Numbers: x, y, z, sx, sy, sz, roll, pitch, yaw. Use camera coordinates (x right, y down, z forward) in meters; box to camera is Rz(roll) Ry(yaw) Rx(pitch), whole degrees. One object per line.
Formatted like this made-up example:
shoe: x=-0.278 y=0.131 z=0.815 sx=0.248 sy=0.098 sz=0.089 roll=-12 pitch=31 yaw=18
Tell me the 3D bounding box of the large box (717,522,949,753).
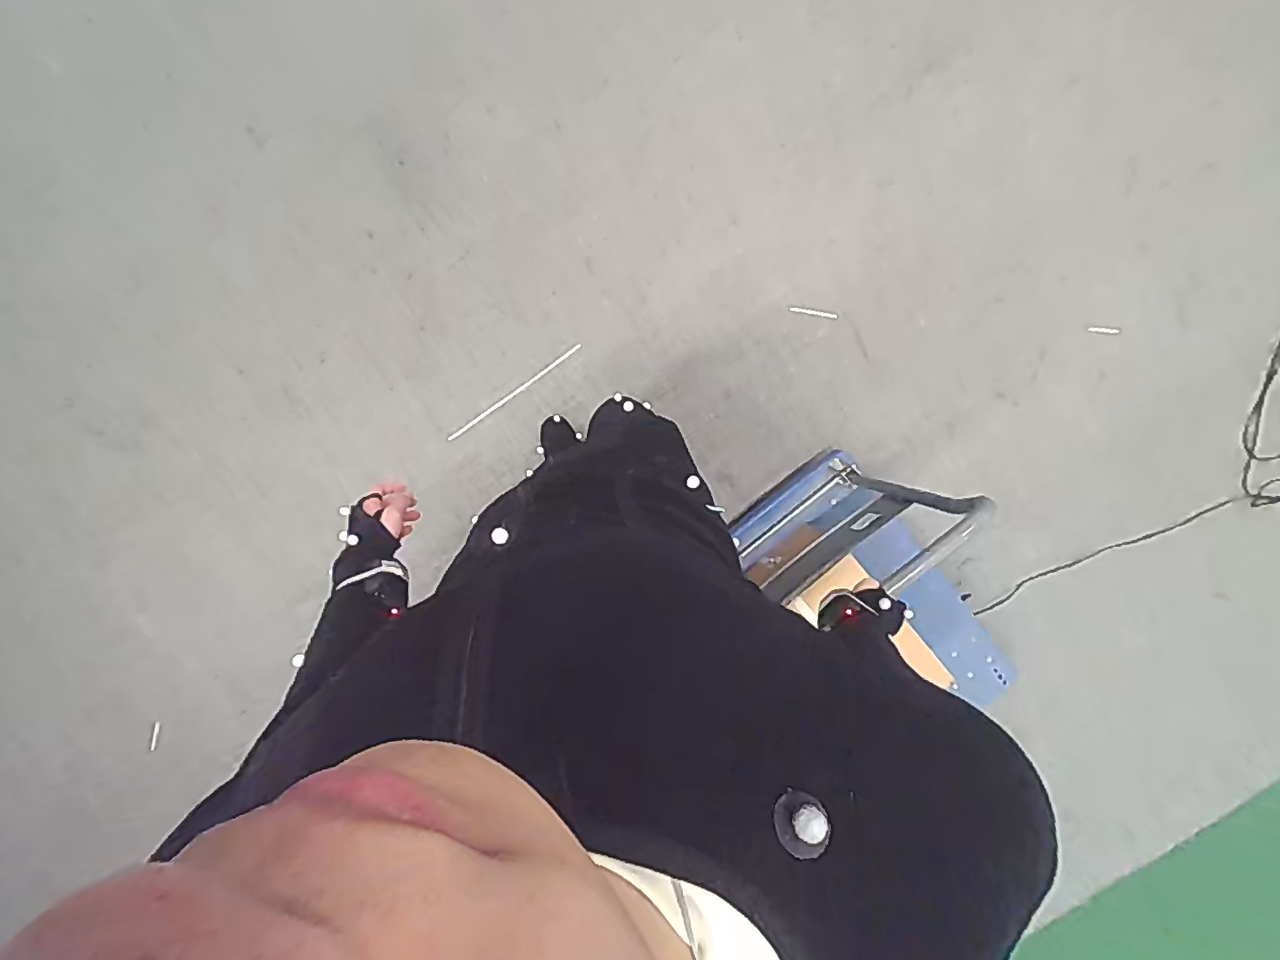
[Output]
large box: x=0.460 y=0.373 z=1.372 sx=0.320 sy=0.320 sz=0.408 roll=-41 pitch=98 yaw=3
